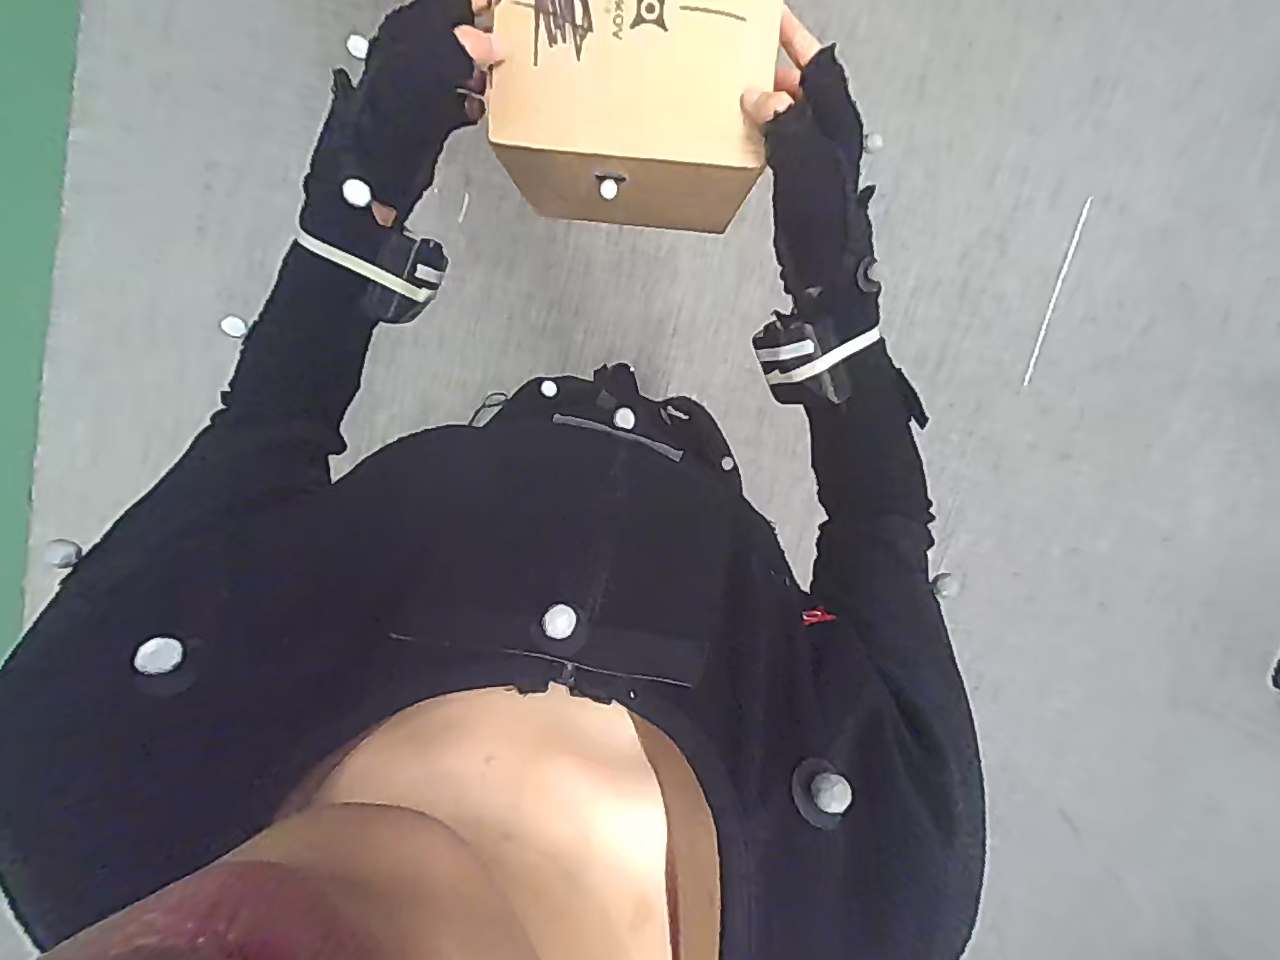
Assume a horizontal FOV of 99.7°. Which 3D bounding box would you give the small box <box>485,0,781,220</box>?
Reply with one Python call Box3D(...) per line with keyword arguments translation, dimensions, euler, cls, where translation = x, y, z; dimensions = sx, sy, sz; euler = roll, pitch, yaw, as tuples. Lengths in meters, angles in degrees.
Box3D(translation=(-0.003, -0.306, 0.398), dimensions=(0.179, 0.176, 0.168), euler=(5, 101, -2), cls="small box")
